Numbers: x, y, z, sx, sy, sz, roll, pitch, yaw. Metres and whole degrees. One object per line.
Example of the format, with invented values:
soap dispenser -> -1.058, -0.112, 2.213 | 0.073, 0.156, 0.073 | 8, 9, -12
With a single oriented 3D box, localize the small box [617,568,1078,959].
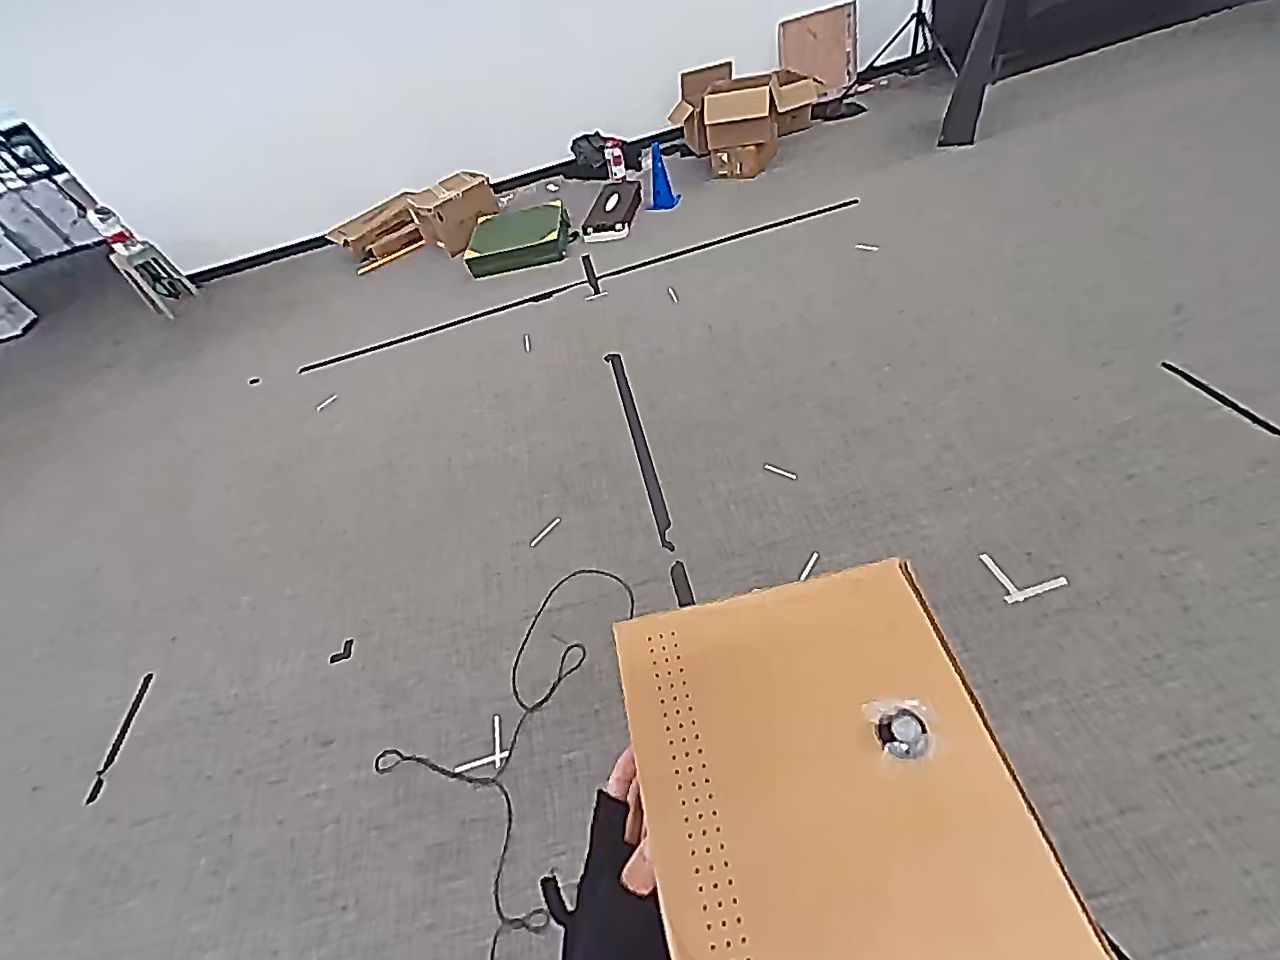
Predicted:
small box -> 0.088, 0.181, 0.326 | 0.176, 0.168, 0.179 | -14, 56, 1
